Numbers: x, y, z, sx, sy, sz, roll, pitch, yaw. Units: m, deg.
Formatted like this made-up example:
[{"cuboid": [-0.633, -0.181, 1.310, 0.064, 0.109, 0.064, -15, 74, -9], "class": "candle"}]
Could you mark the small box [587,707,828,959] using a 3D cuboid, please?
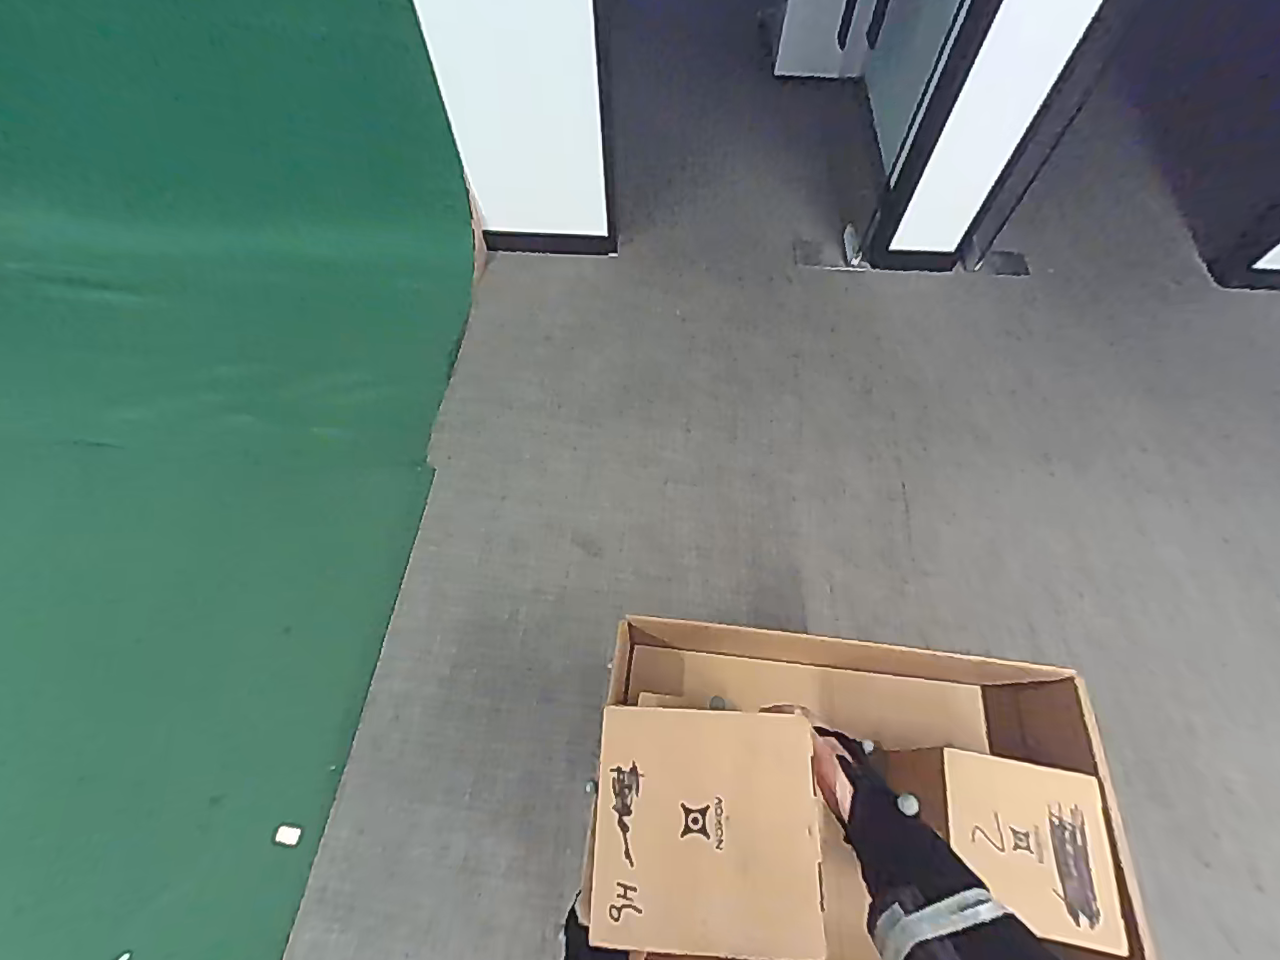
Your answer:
[{"cuboid": [0.054, 0.300, 0.492, 0.179, 0.176, 0.168, 1, 66, 3], "class": "small box"}]
